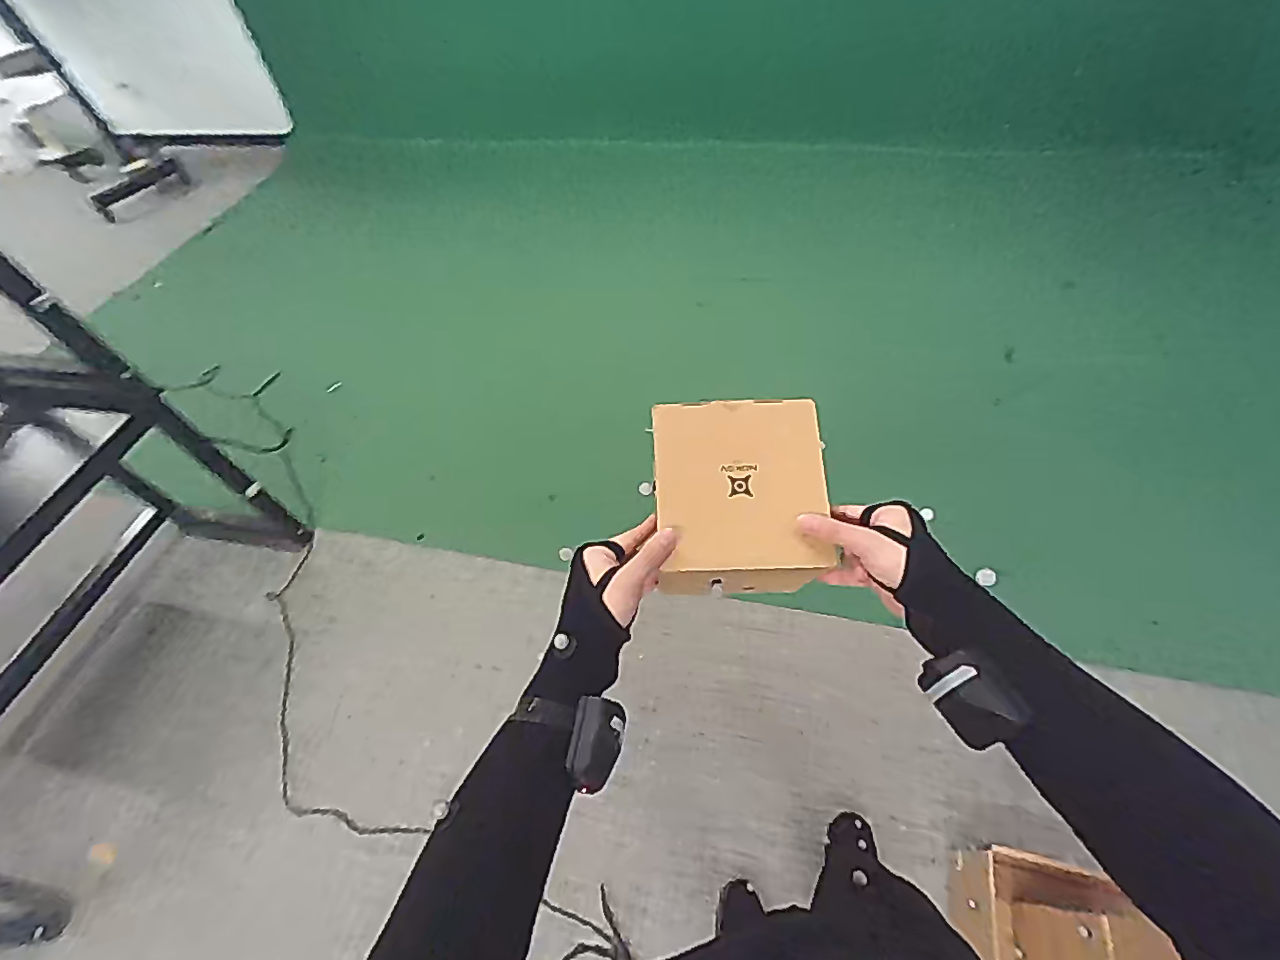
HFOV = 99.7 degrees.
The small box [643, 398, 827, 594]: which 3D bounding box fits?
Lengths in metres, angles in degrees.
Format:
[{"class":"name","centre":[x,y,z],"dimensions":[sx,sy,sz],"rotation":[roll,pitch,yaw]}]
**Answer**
[{"class":"small box","centre":[0.092,0.029,0.597],"dimensions":[0.168,0.176,0.179],"rotation":[-3,69,2]}]

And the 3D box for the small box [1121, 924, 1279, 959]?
[{"class":"small box","centre":[0.834,0.763,0.764],"dimensions":[0.168,0.176,0.179],"rotation":[10,56,13]}]
